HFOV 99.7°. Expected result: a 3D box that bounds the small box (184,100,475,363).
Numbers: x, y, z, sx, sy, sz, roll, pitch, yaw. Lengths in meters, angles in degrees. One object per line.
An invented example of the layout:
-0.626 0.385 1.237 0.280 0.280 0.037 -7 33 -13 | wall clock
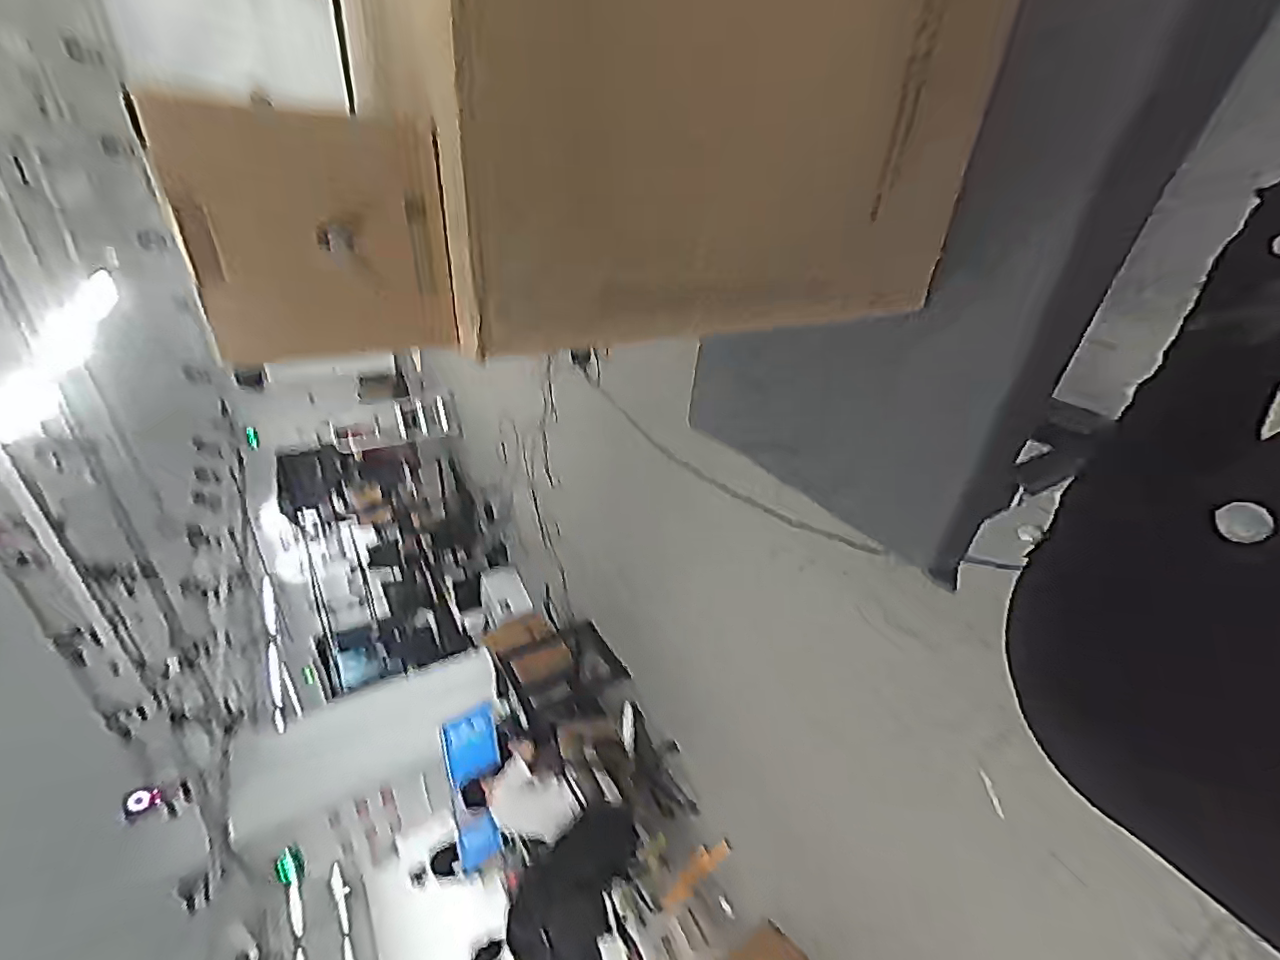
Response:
-0.250 -0.209 0.462 0.179 0.176 0.168 32 131 48 | small box
